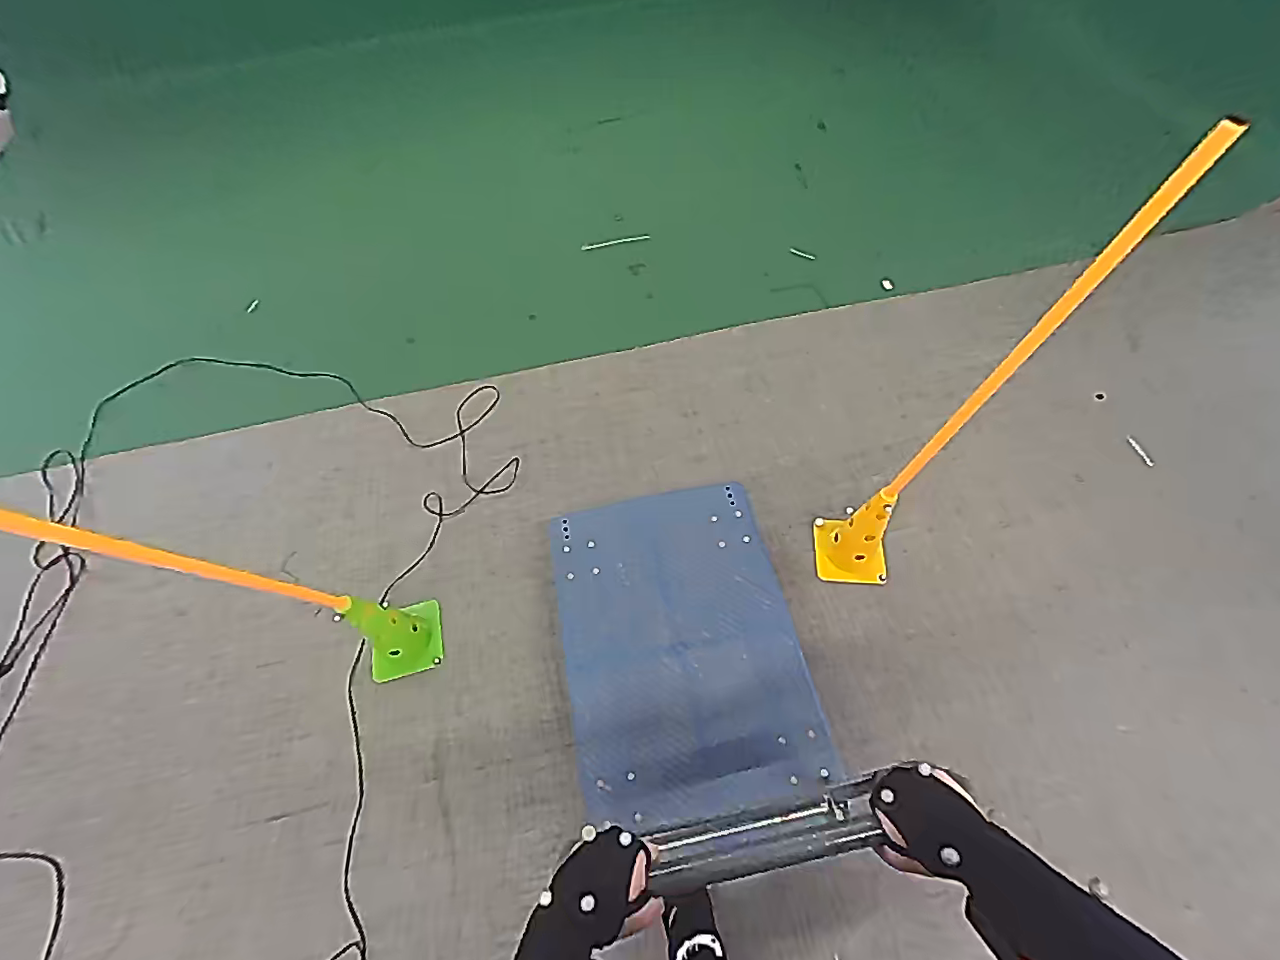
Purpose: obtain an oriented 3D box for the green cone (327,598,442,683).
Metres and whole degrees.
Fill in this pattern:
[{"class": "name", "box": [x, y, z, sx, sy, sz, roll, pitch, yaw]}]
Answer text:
[{"class": "green cone", "box": [-0.689, 0.378, 1.411, 0.202, 0.368, 0.200, -16, 60, -4]}]
